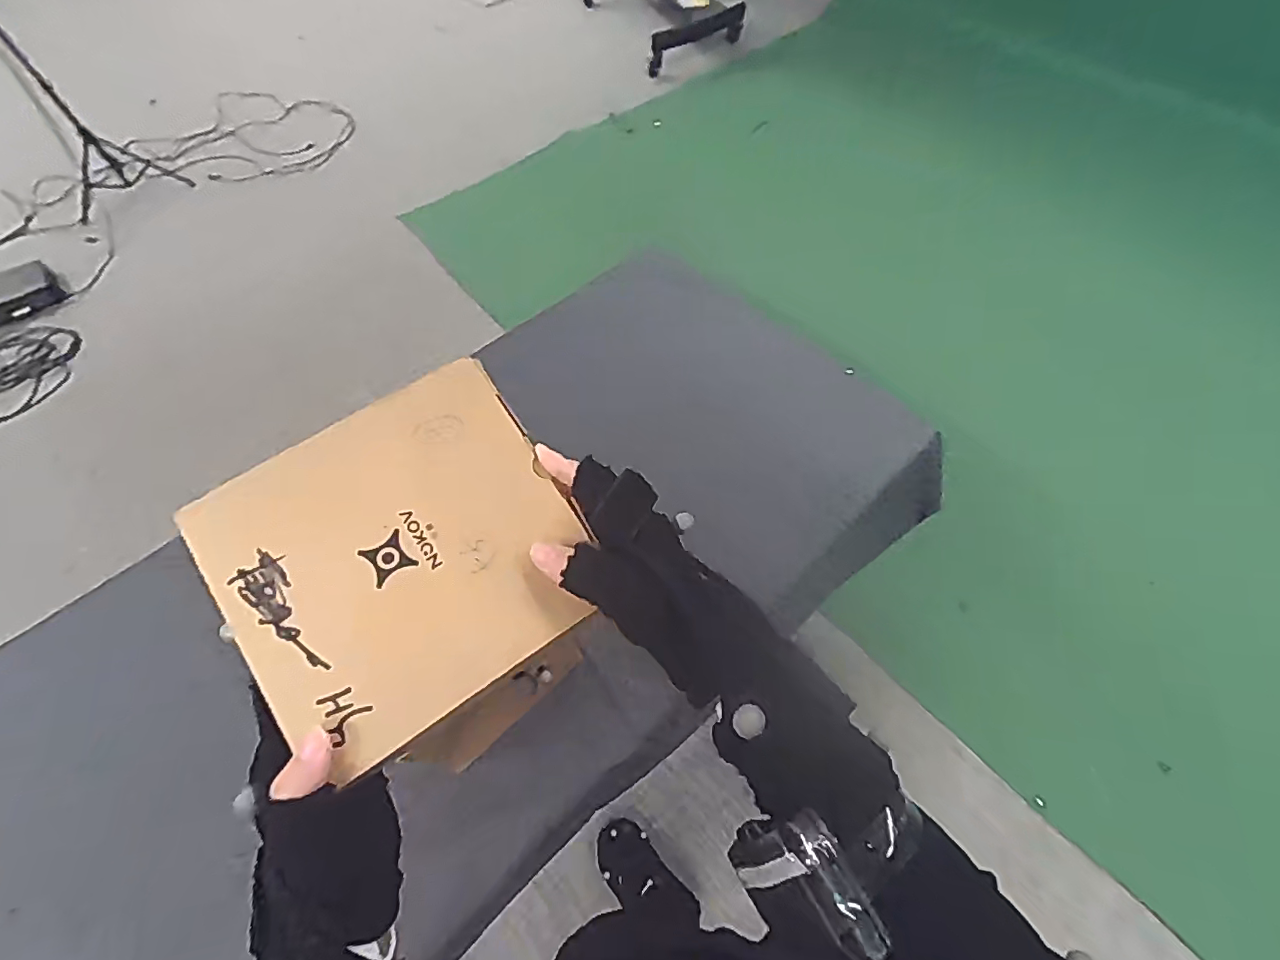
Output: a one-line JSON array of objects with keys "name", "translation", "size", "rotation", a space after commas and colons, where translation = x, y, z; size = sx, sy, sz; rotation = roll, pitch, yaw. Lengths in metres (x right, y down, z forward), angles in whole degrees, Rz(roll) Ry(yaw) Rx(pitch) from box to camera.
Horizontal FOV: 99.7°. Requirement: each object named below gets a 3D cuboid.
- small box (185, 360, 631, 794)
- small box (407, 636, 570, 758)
[{"name": "small box", "translation": [-0.128, 0.058, 0.362], "size": [0.179, 0.176, 0.168], "rotation": [-35, 81, -13]}, {"name": "small box", "translation": [-0.191, 0.166, 0.578], "size": [0.179, 0.176, 0.168], "rotation": [-41, 66, -18]}]
